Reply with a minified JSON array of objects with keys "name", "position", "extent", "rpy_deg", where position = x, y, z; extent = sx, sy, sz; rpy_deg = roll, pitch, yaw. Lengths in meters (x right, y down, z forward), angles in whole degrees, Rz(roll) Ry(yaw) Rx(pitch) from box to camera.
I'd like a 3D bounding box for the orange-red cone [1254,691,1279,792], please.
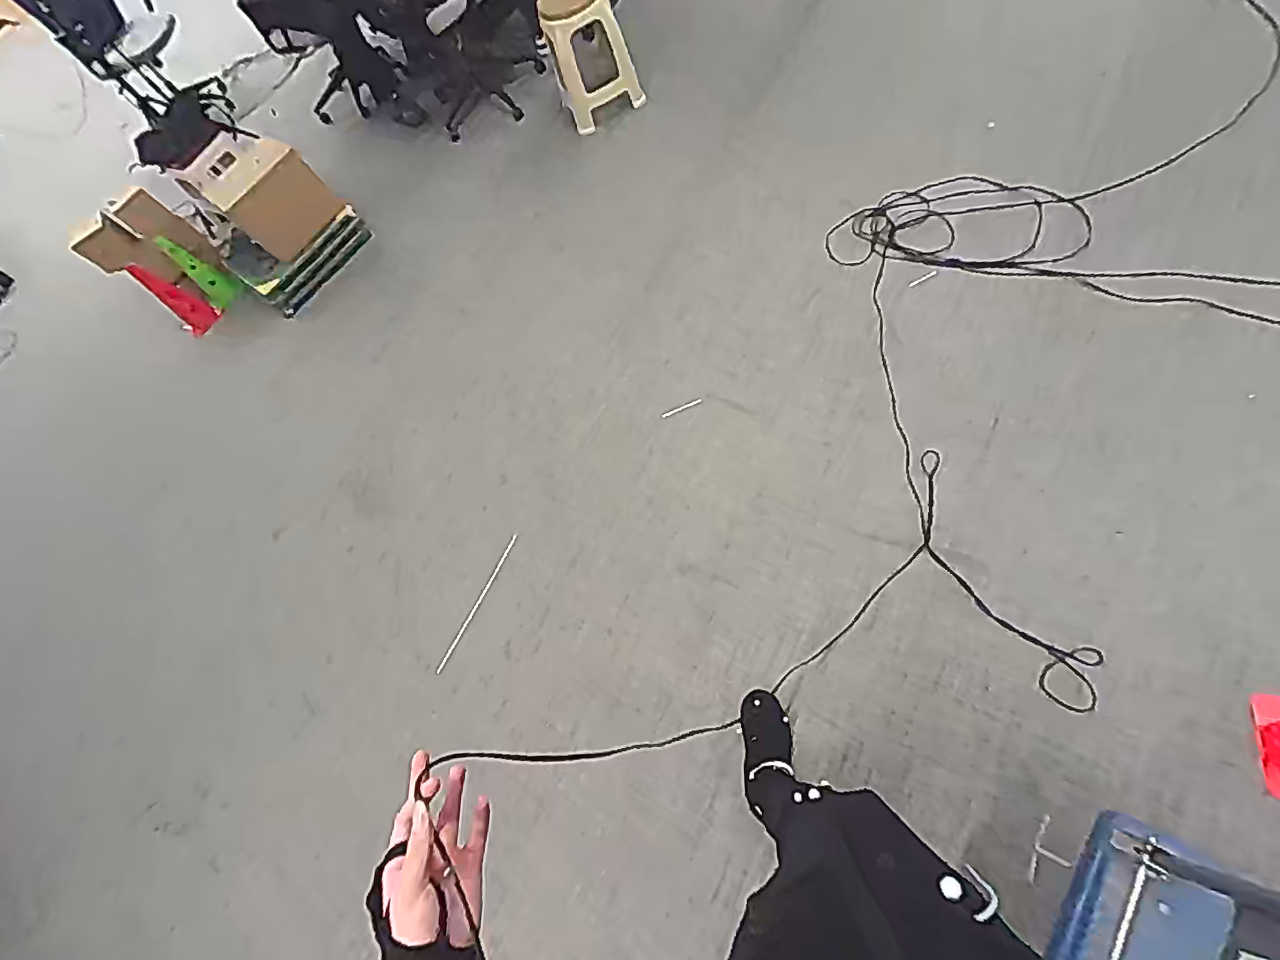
[{"name":"orange-red cone","position":[1.313,0.471,0.923],"extent":[0.198,0.360,0.199],"rpy_deg":[8,68,19]}]
